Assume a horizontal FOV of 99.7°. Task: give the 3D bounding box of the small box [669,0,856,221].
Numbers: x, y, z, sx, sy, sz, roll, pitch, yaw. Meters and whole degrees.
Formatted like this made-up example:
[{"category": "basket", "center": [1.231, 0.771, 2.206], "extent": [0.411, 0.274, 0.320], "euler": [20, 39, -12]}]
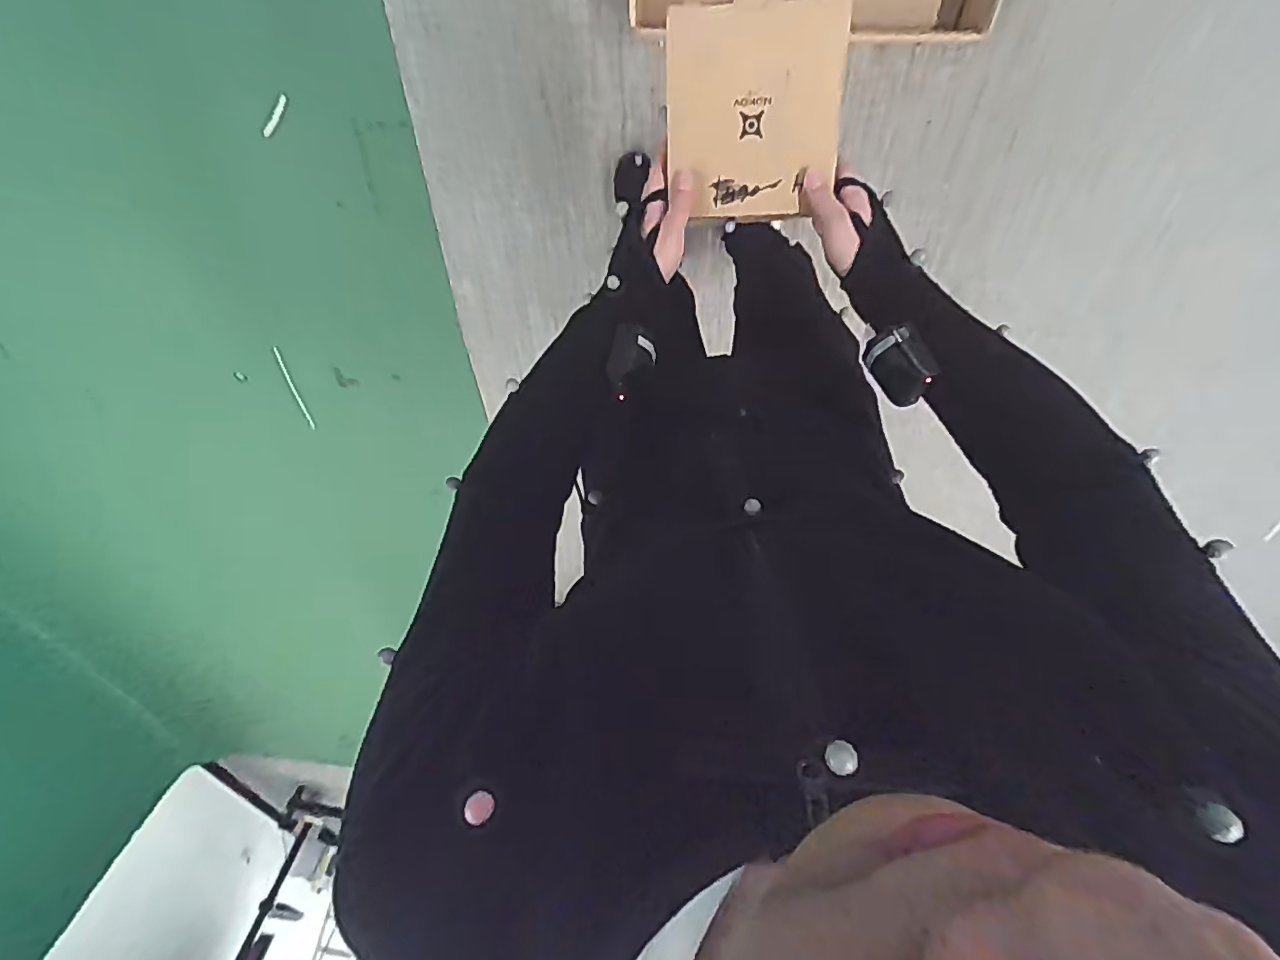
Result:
[{"category": "small box", "center": [0.117, -0.383, 0.585], "extent": [0.168, 0.176, 0.179], "euler": [1, 114, 6]}]
